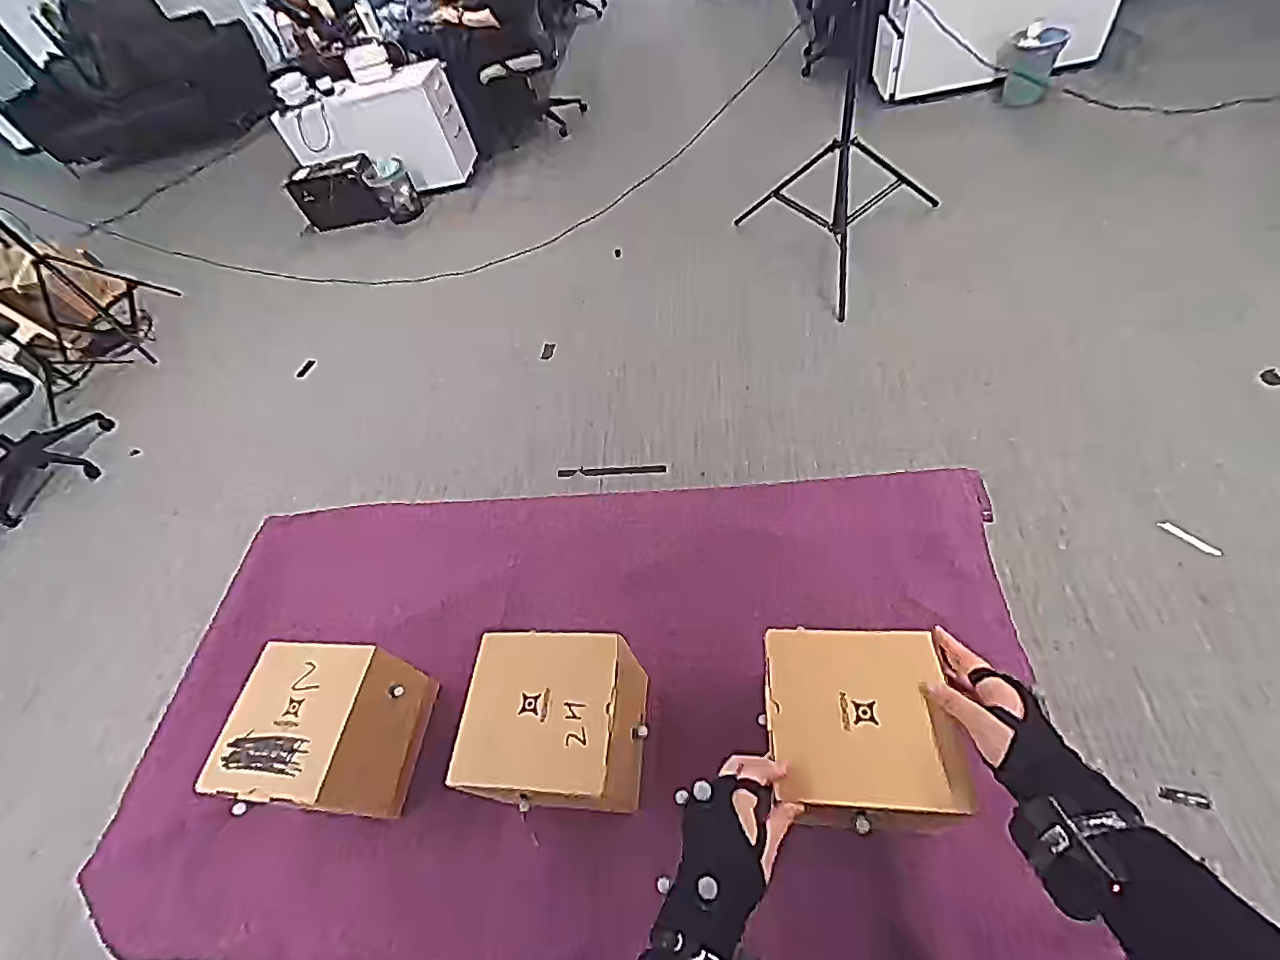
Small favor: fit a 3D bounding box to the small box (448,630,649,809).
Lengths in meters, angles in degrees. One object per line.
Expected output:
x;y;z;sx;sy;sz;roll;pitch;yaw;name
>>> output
-0.095;0.293;0.657;0.179;0.176;0.168;-2;54;12;small box
